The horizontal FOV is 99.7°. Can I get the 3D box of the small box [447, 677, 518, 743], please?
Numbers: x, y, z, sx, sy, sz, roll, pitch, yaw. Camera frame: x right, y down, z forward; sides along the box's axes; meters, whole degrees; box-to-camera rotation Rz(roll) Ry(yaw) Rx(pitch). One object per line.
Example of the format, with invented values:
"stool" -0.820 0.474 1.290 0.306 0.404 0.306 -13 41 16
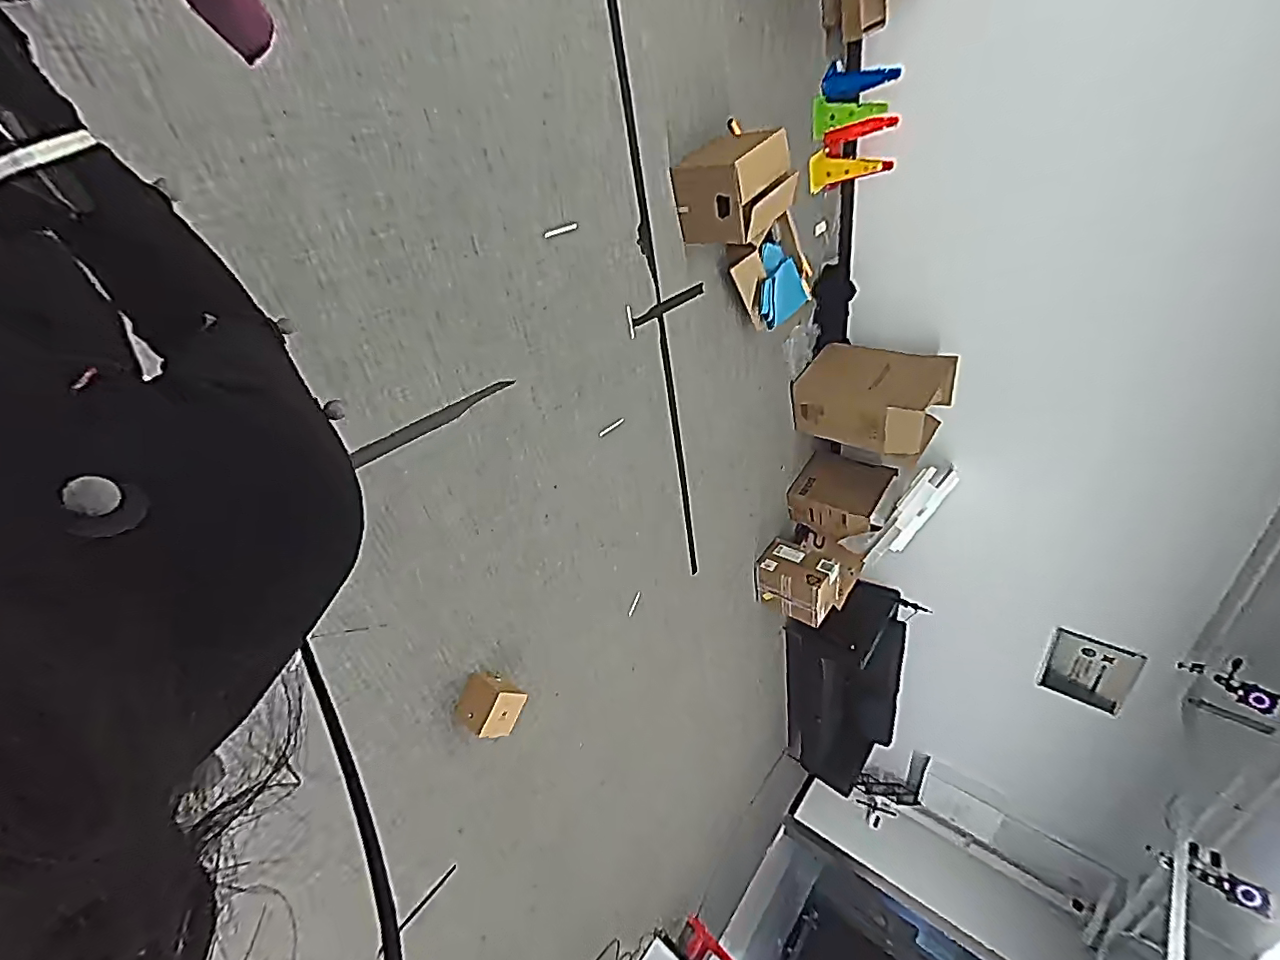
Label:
"small box" -0.609 0.879 2.069 0.168 0.176 0.179 38 74 -54
